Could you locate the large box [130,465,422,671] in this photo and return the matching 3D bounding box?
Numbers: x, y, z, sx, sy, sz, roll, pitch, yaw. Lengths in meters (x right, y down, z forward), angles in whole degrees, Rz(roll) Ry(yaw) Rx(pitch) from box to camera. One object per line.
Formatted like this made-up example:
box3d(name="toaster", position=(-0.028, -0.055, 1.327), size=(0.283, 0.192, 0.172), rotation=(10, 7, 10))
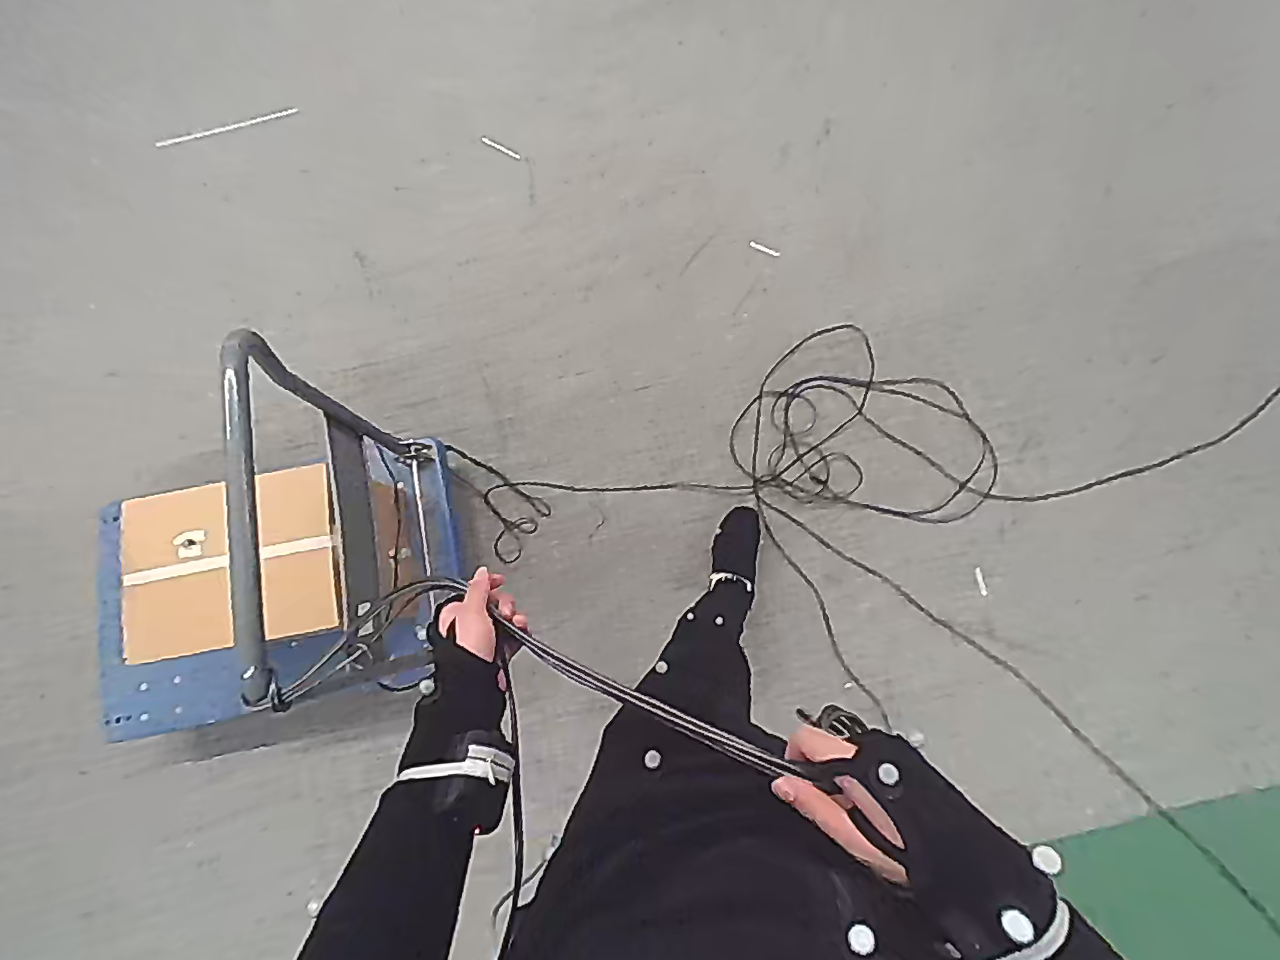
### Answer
box3d(name="large box", position=(-0.734, 0.182, 1.141), size=(0.408, 0.320, 0.320), rotation=(-11, 79, 1))
